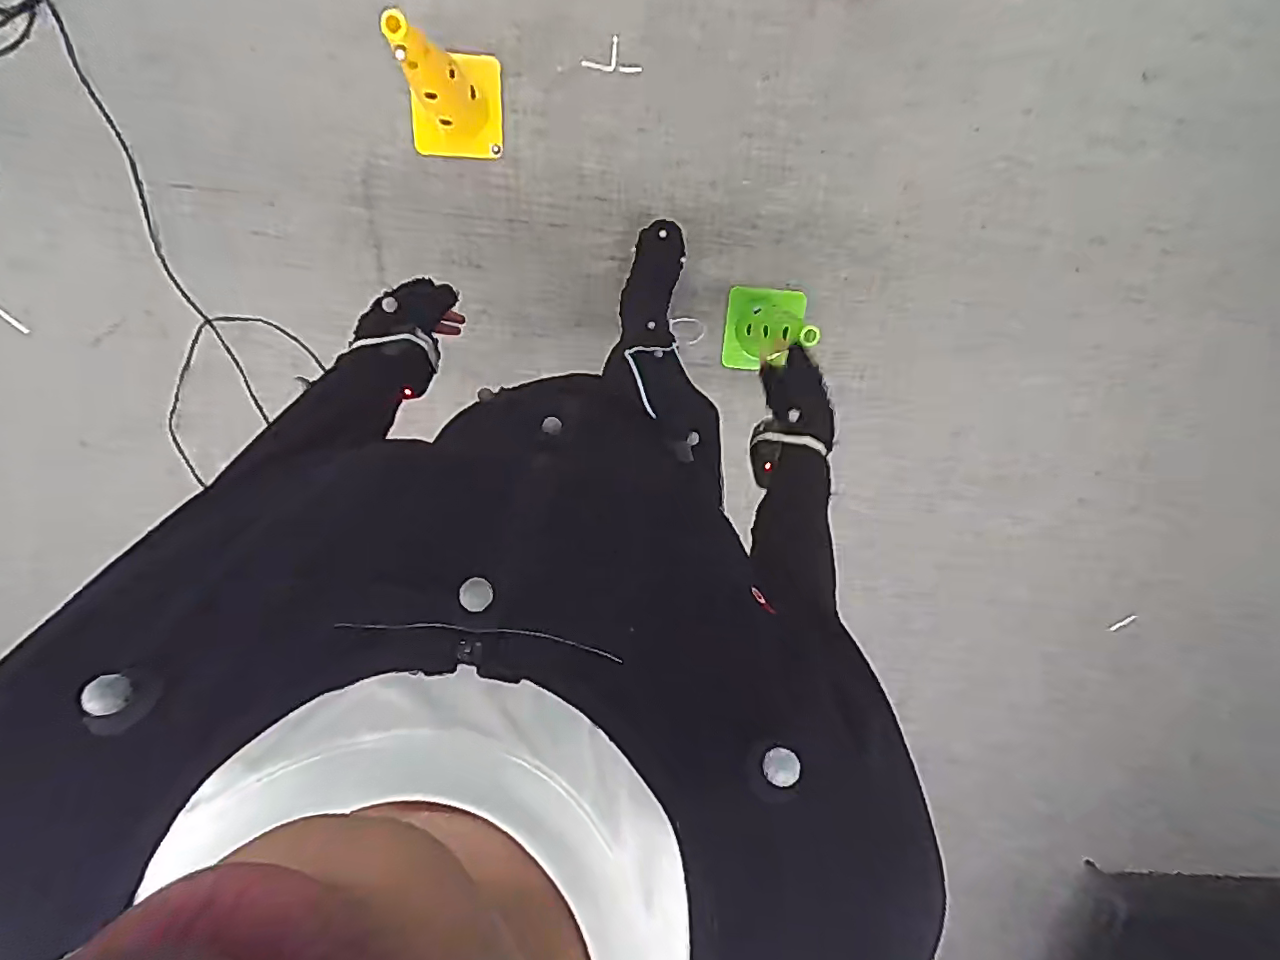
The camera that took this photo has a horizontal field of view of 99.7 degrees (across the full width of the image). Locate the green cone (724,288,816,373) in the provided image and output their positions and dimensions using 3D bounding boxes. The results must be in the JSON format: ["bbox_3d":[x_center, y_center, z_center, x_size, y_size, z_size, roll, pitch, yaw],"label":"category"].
[{"bbox_3d":[0.324,-0.332,1.214,0.202,0.368,0.200,3,106,-2],"label":"green cone"}]
